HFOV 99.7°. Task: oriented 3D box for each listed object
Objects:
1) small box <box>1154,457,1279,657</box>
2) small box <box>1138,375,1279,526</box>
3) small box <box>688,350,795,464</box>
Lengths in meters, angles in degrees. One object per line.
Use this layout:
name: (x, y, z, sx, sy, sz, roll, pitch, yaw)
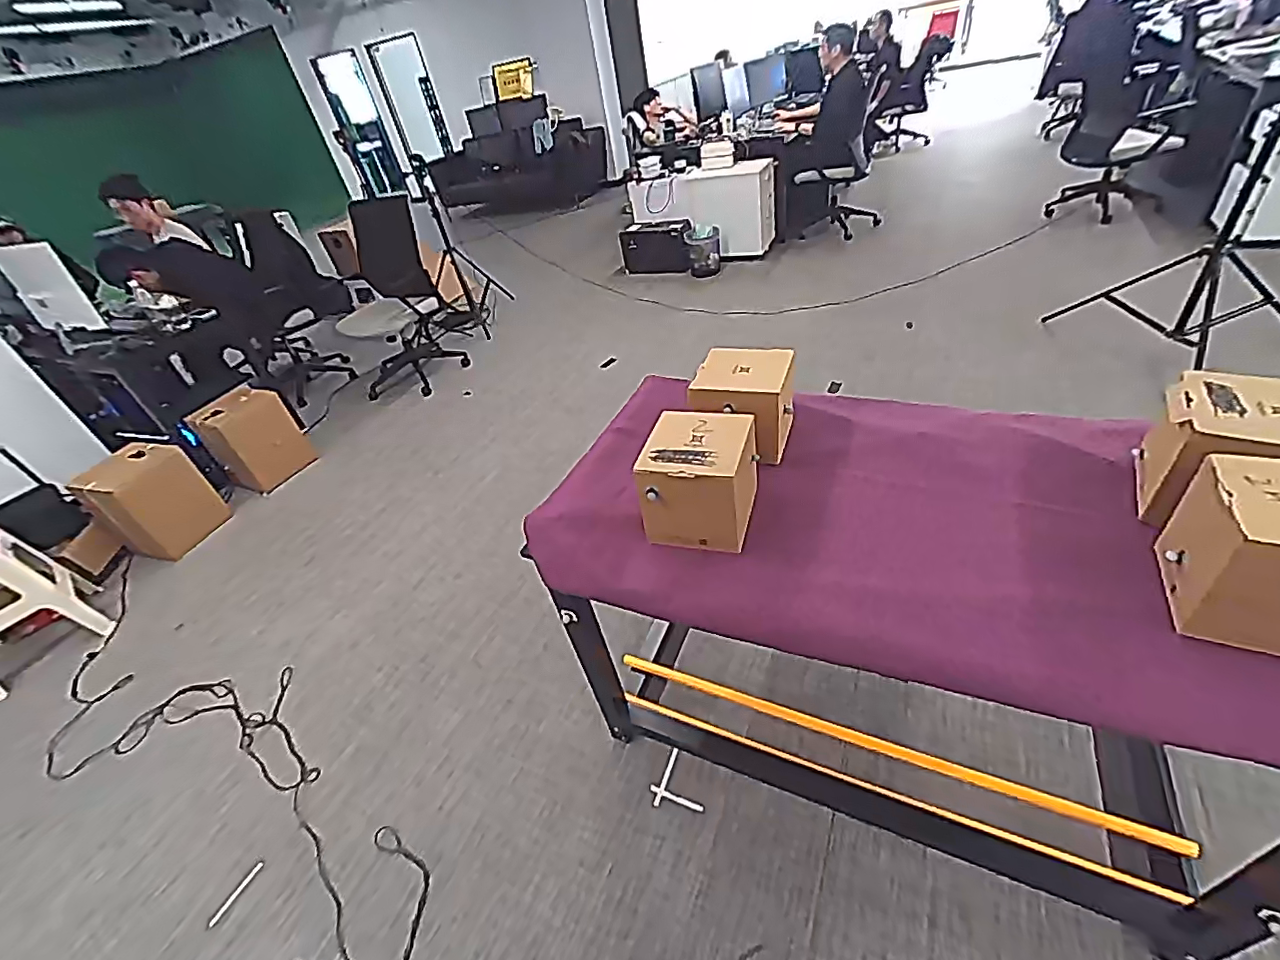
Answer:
small box: (0.768, 0.098, 0.642, 0.179, 0.176, 0.168, 10, 42, 27)
small box: (0.853, -0.028, 0.774, 0.179, 0.176, 0.168, 15, 47, 29)
small box: (0.213, -0.149, 1.101, 0.179, 0.176, 0.168, 7, 42, 22)
